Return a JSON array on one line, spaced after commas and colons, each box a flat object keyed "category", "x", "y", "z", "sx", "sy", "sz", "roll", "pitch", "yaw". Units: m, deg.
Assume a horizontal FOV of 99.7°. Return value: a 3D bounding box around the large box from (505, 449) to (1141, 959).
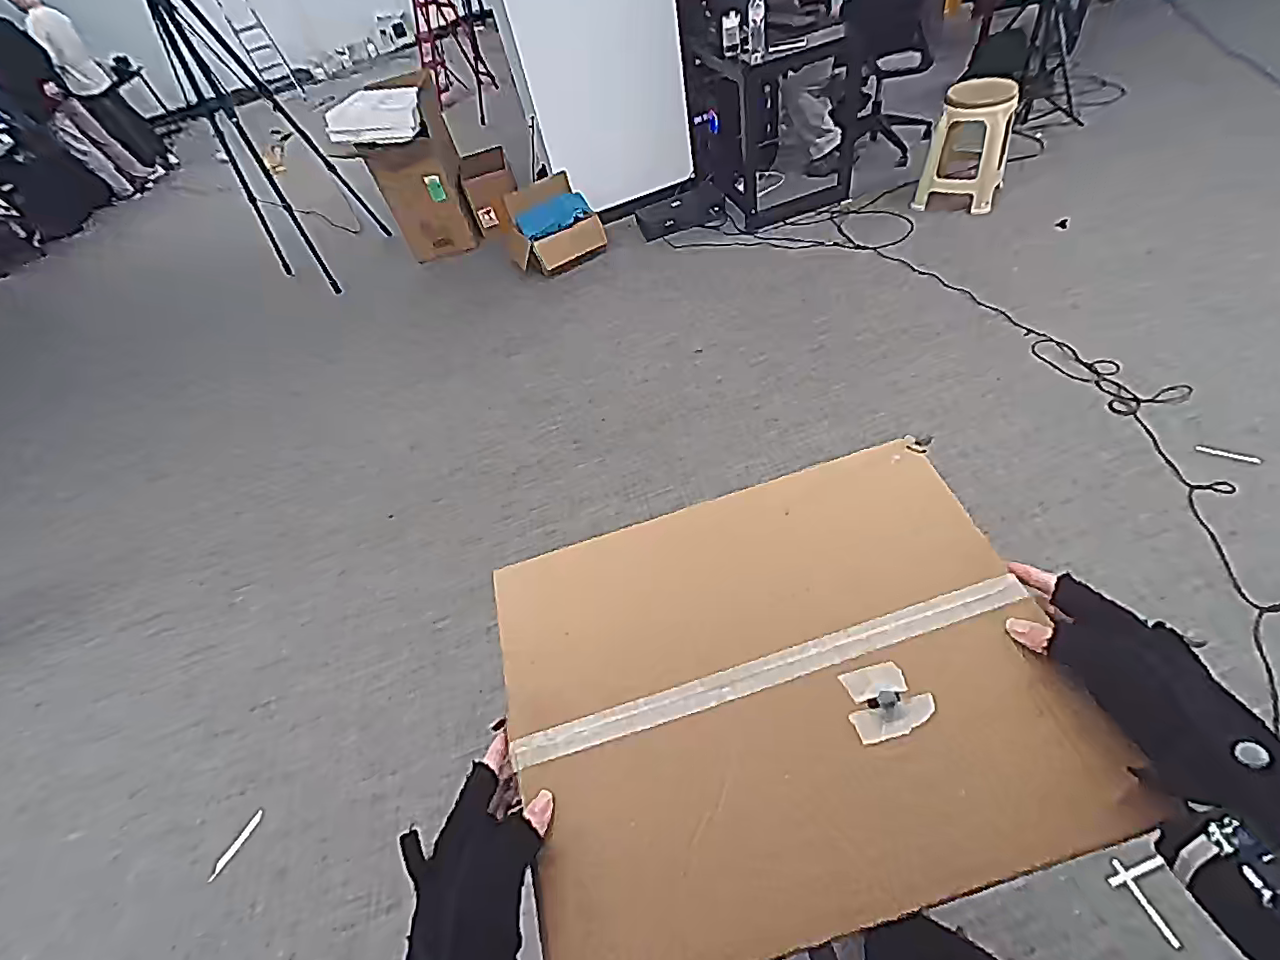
[{"category": "large box", "x": 0.123, "y": 0.232, "z": 0.551, "sx": 0.408, "sy": 0.320, "sz": 0.320, "roll": -18, "pitch": 57, "yaw": -1}]
